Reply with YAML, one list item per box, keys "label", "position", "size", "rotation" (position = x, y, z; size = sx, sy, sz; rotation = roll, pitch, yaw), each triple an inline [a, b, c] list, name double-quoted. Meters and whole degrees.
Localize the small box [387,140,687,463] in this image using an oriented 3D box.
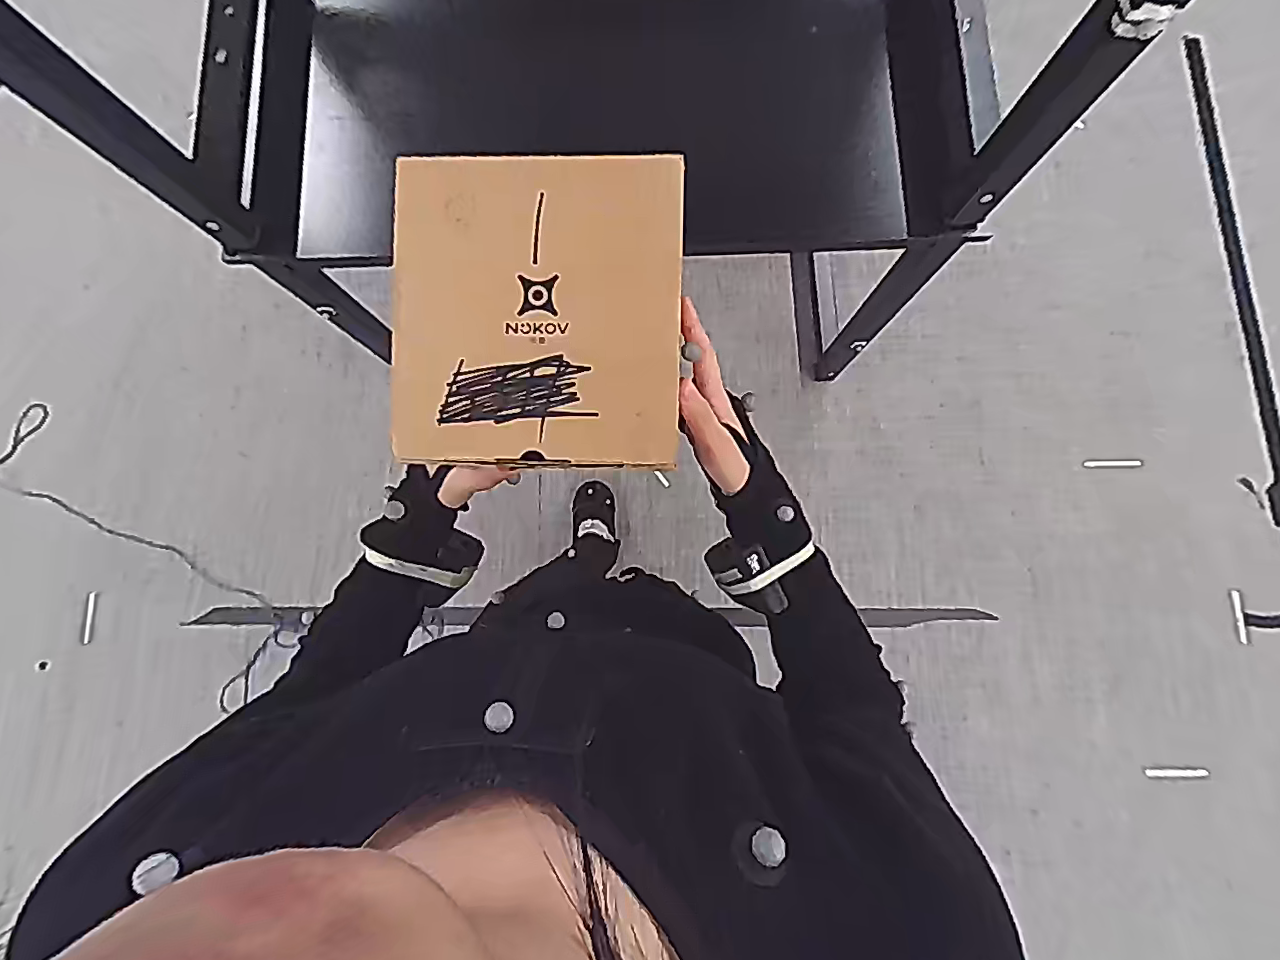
- label: "small box"
  position: [-0.054, -0.102, 0.379]
  size: [0.168, 0.176, 0.179]
  rotation: [2, 90, 2]
